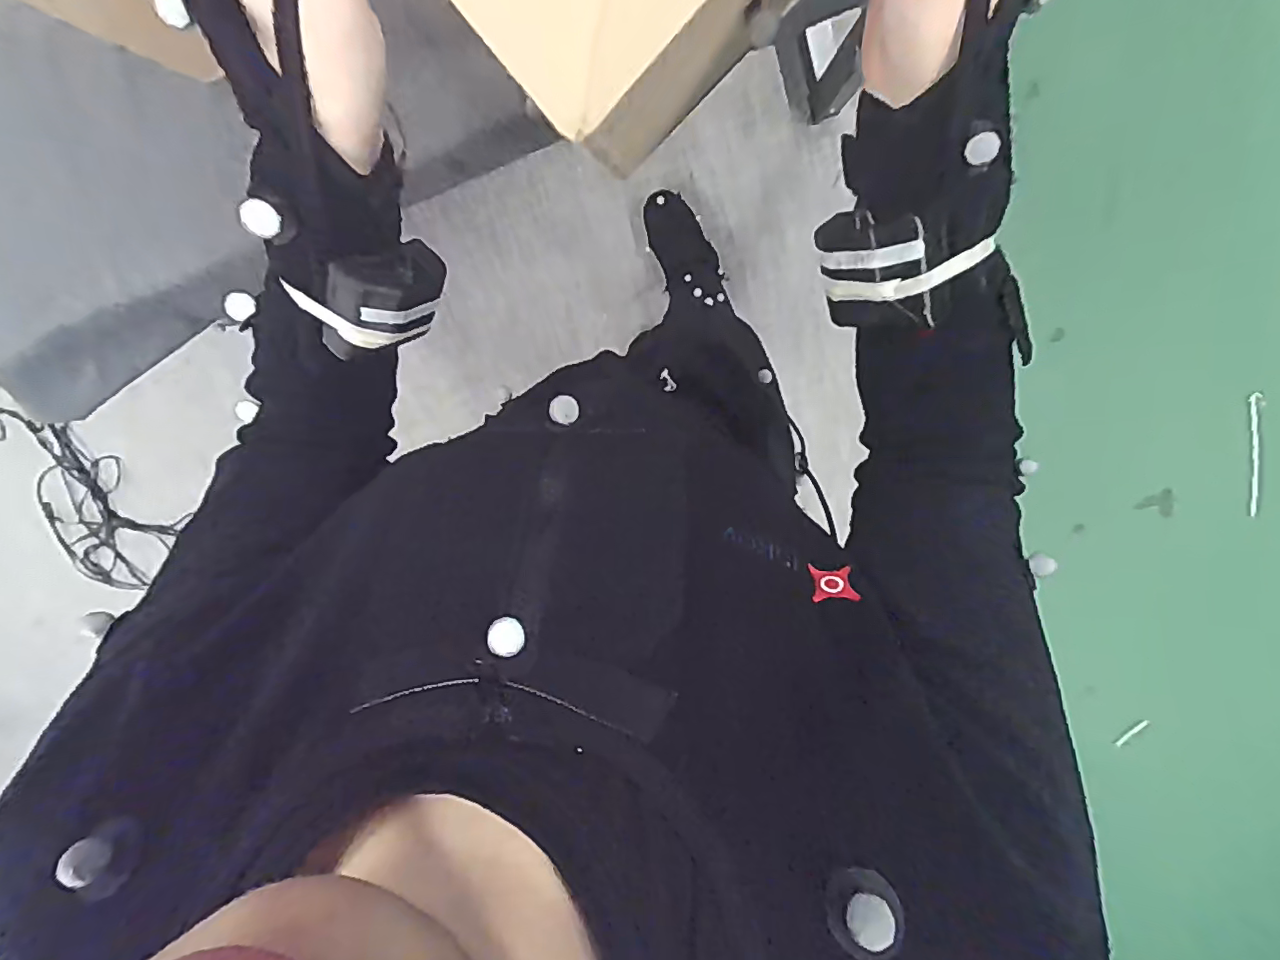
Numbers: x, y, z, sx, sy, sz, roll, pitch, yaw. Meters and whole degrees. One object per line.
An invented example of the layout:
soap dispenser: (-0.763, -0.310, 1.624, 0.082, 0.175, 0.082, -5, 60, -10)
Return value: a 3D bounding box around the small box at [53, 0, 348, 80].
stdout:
small box: (-0.370, -0.455, 0.406, 0.168, 0.176, 0.179, -17, 107, 10)
